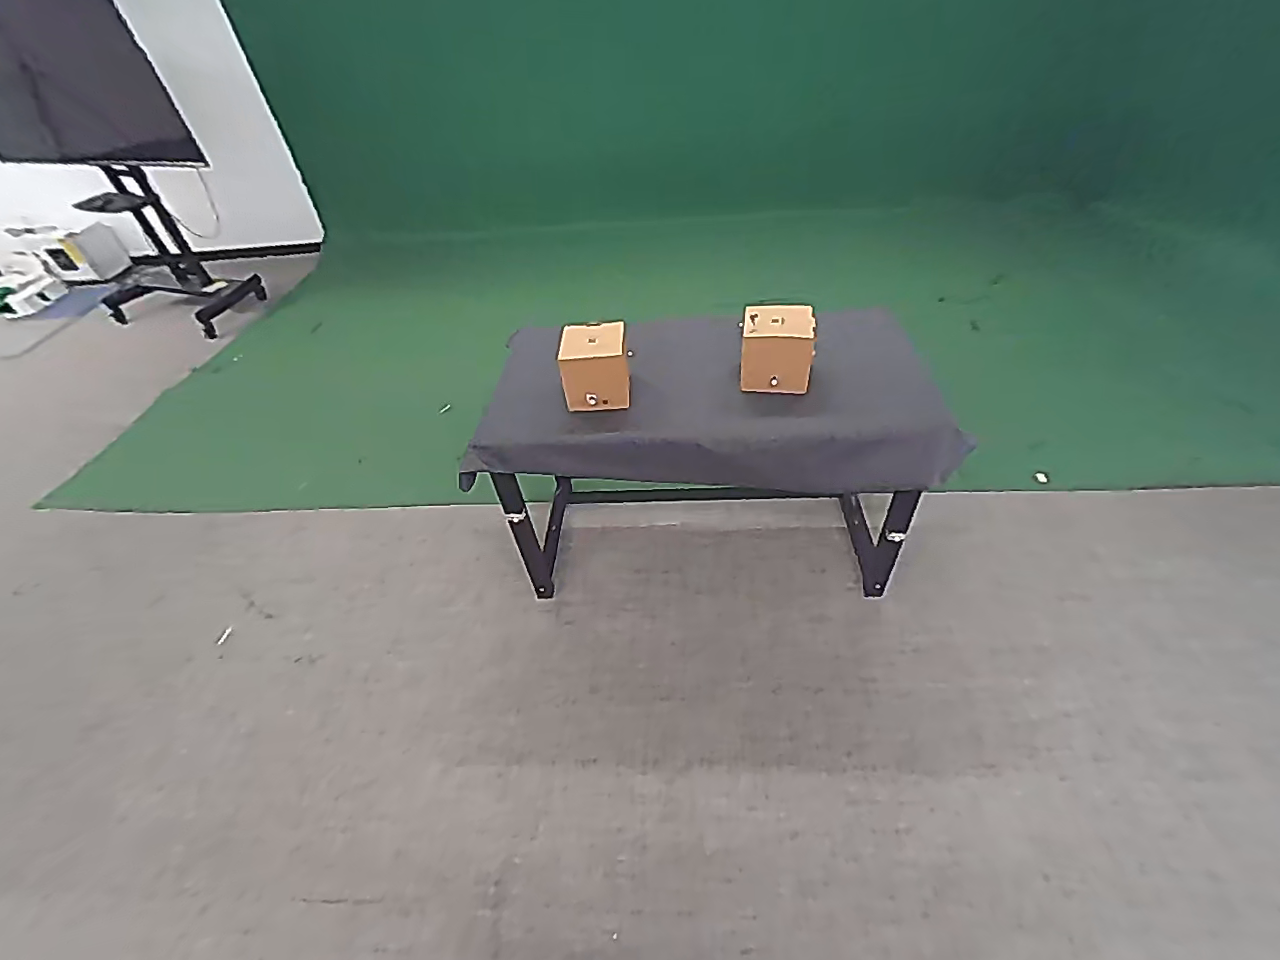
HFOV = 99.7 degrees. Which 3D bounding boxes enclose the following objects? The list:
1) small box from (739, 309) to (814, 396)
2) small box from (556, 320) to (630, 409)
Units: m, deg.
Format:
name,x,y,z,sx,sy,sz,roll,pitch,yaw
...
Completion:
name,x,y,z,sx,sy,sz,roll,pitch,yaw
small box,0.363,-0.340,1.451,0.179,0.176,0.168,5,45,11
small box,-0.119,-0.309,1.451,0.168,0.176,0.179,-3,44,6
